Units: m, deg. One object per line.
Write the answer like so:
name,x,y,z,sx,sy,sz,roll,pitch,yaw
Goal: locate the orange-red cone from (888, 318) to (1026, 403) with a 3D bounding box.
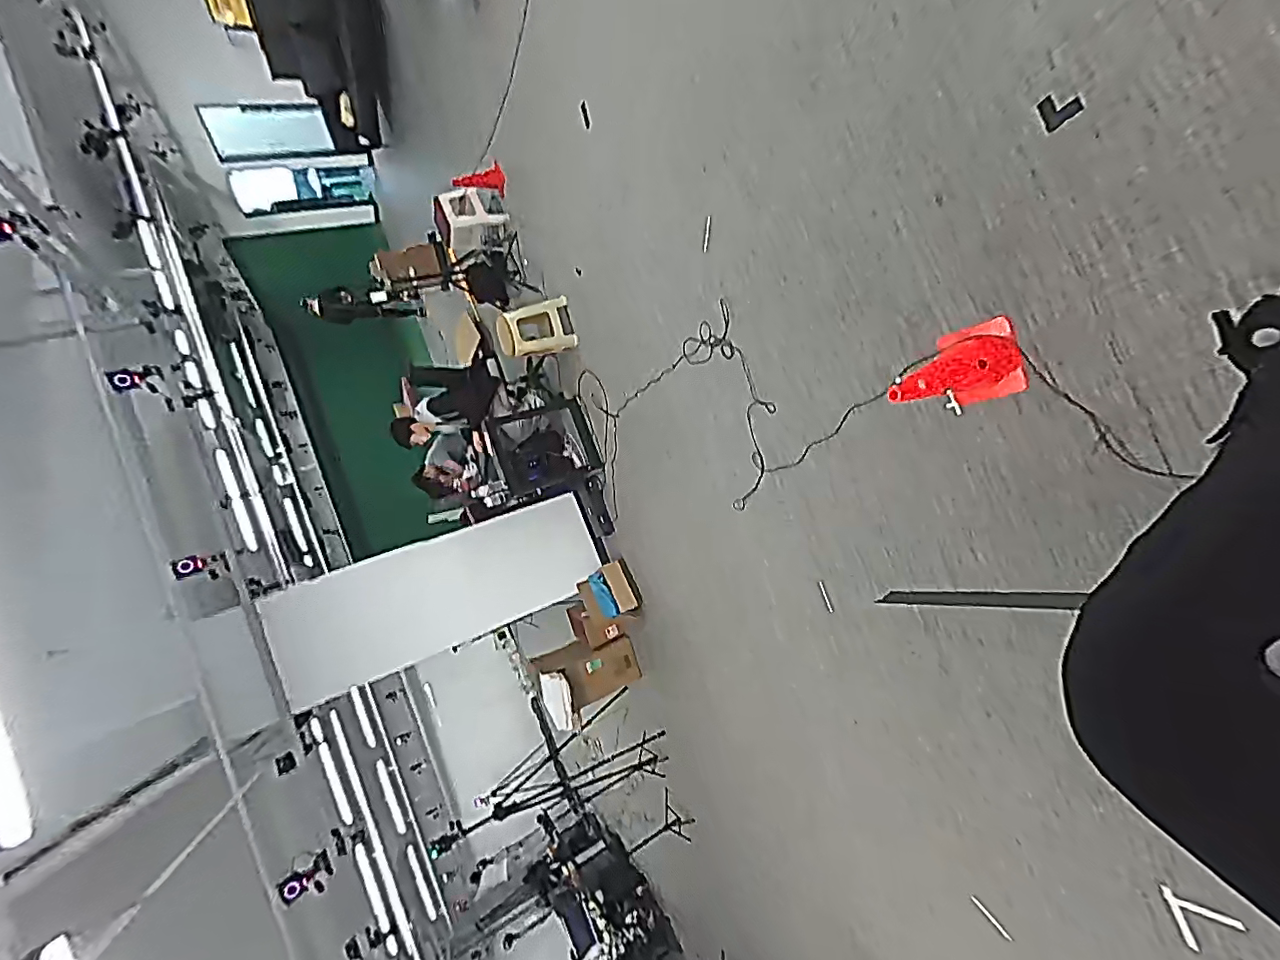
orange-red cone,0.760,-0.260,1.367,0.199,0.360,0.198,-10,100,64
